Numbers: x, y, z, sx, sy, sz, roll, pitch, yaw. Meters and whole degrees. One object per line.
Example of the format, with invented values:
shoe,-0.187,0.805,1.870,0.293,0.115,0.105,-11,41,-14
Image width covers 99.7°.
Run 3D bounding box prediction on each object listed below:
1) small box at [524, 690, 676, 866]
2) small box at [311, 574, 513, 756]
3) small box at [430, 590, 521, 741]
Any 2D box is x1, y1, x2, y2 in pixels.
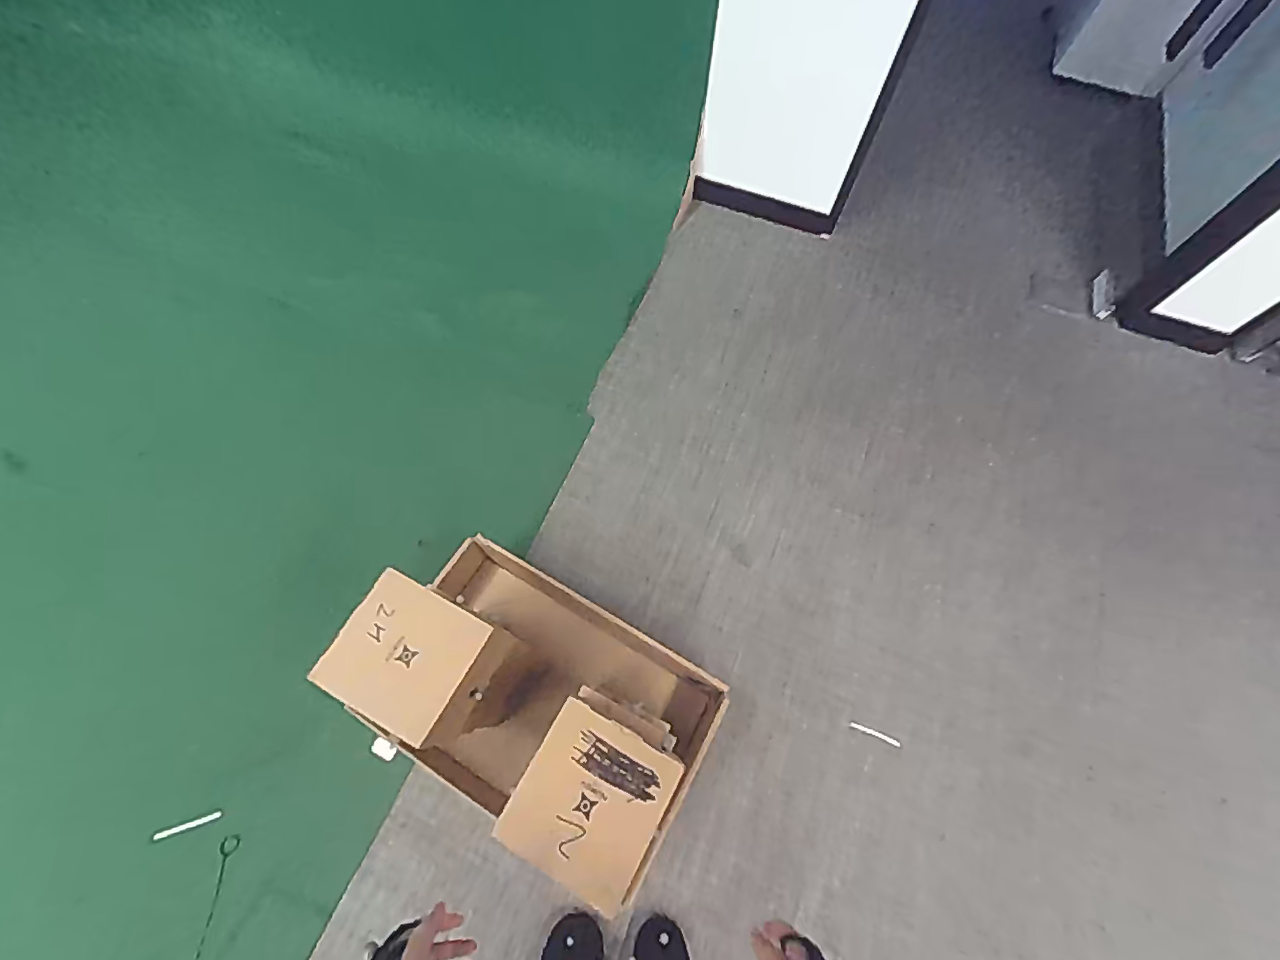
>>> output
small box,-0.056,0.461,0.861,0.168,0.176,0.179,27,67,11
small box,-0.303,0.260,0.766,0.179,0.176,0.168,27,68,9
small box,-0.320,0.317,0.920,0.168,0.176,0.179,29,69,10
